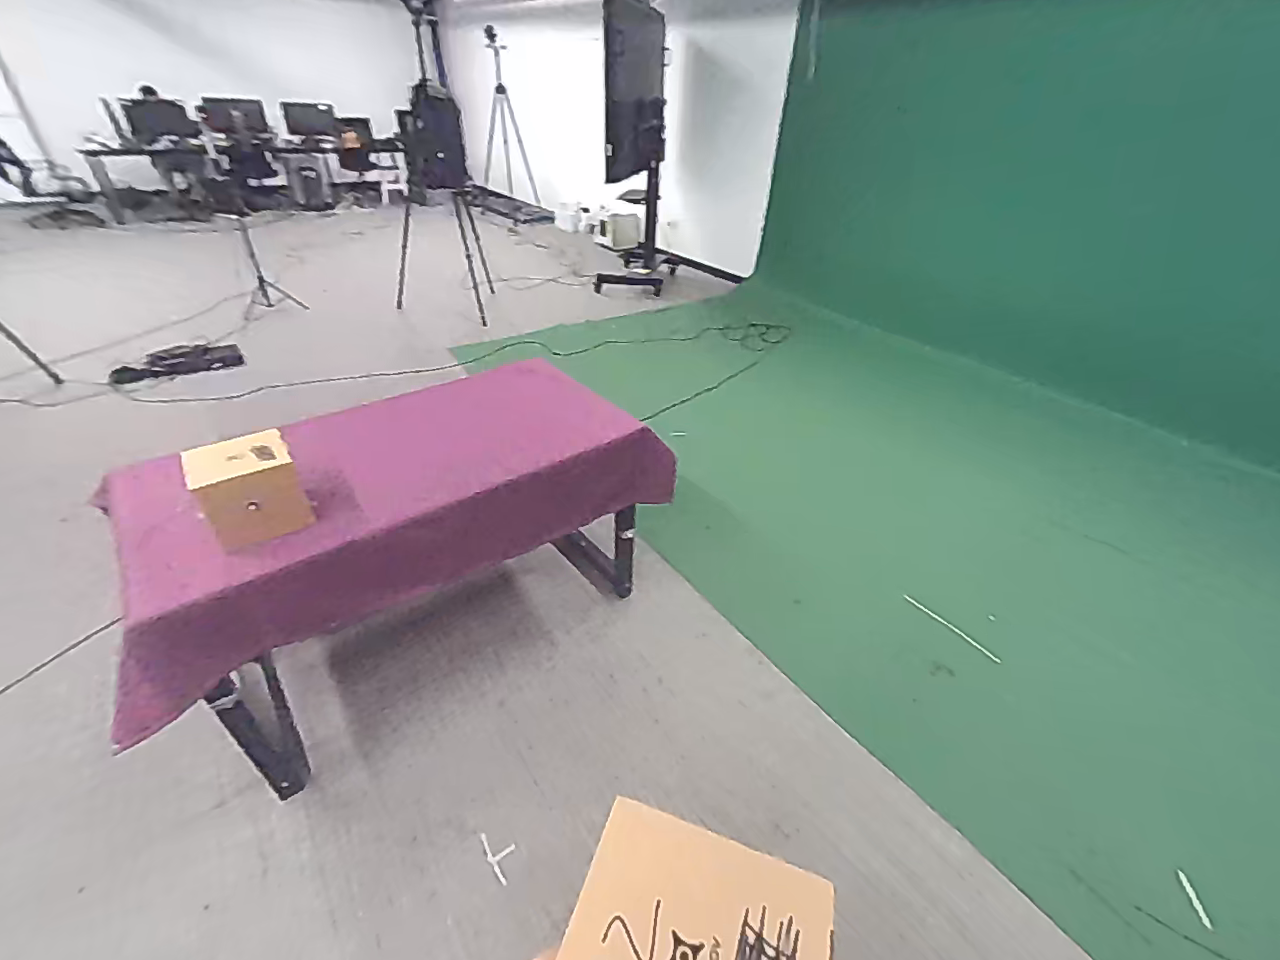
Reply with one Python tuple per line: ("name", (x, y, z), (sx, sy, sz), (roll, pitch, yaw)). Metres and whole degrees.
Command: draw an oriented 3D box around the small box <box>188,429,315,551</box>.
("small box", (-0.819, 0.019, 1.154), (0.179, 0.176, 0.168), (-23, 43, -31))
